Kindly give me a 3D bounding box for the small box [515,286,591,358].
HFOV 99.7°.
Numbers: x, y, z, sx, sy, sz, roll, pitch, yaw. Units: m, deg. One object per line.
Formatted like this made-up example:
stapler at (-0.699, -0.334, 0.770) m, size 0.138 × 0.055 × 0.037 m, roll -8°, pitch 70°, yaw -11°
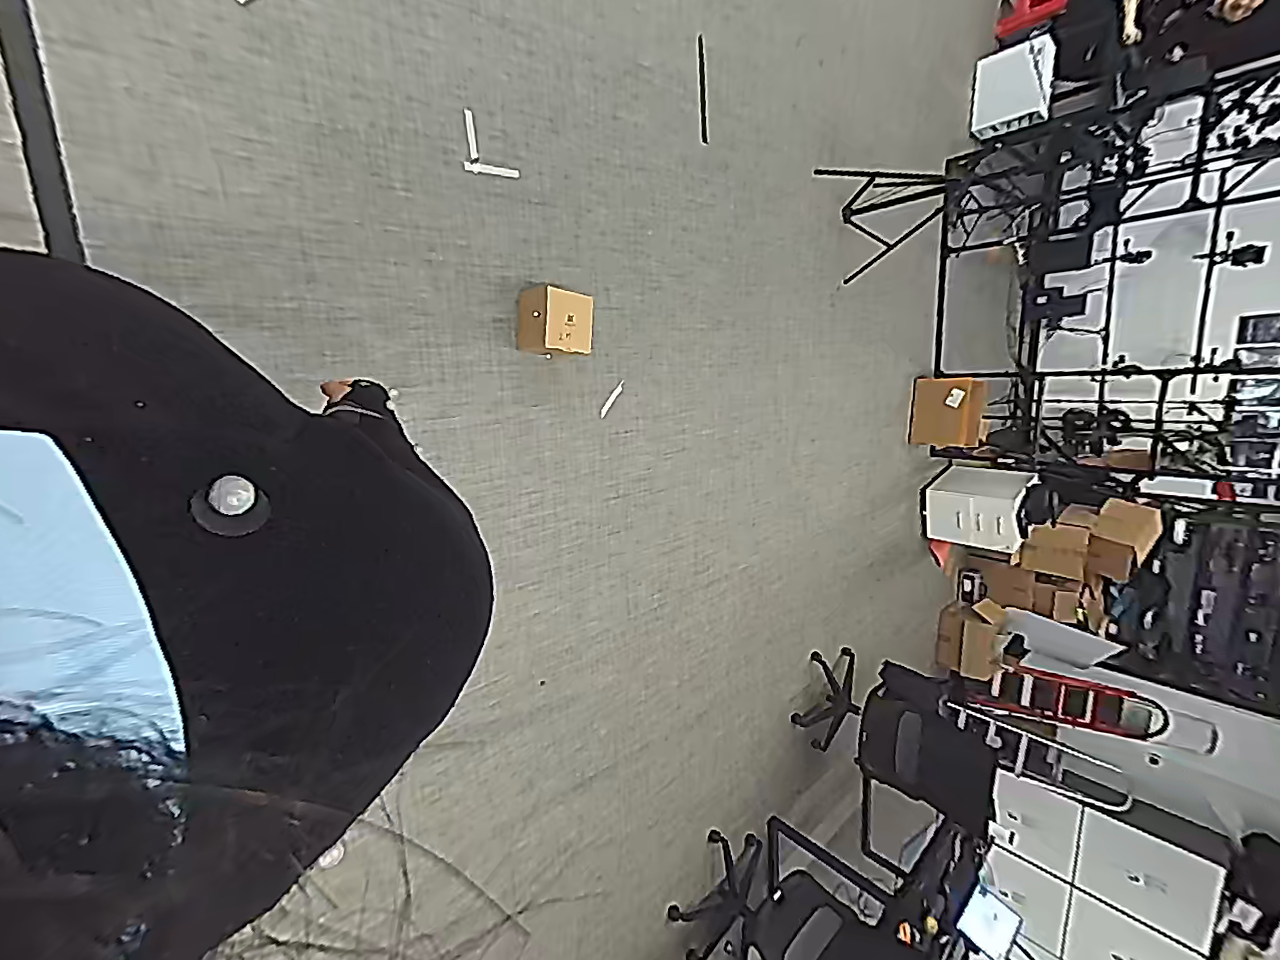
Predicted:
small box at (-0.269, -0.478, 1.660) m, size 0.168 × 0.176 × 0.179 m, roll -1°, pitch 98°, yaw -42°
